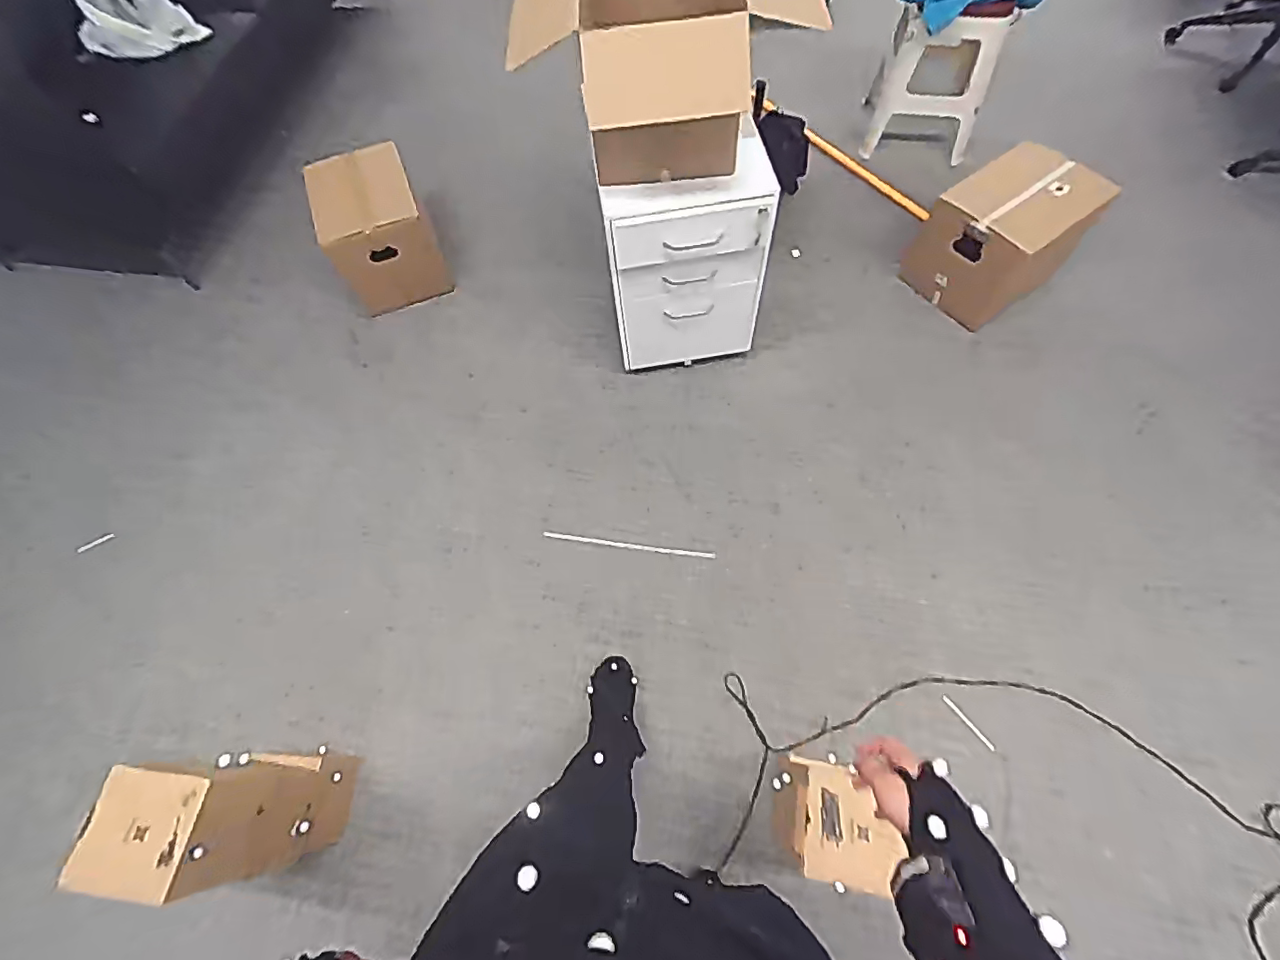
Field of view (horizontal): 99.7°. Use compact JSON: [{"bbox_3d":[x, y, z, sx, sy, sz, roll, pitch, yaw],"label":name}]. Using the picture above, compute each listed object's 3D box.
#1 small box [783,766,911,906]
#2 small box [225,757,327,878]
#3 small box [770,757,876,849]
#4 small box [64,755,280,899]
[{"bbox_3d":[0.364,0.625,0.972,0.179,0.176,0.168,10,66,7],"label":"small box"},{"bbox_3d":[-0.757,0.641,1.046,0.179,0.176,0.168,6,65,5],"label":"small box"},{"bbox_3d":[0.374,0.686,1.125,0.179,0.176,0.168,9,65,7],"label":"small box"},{"bbox_3d":[-0.759,0.564,0.901,0.179,0.176,0.168,6,65,7],"label":"small box"}]
